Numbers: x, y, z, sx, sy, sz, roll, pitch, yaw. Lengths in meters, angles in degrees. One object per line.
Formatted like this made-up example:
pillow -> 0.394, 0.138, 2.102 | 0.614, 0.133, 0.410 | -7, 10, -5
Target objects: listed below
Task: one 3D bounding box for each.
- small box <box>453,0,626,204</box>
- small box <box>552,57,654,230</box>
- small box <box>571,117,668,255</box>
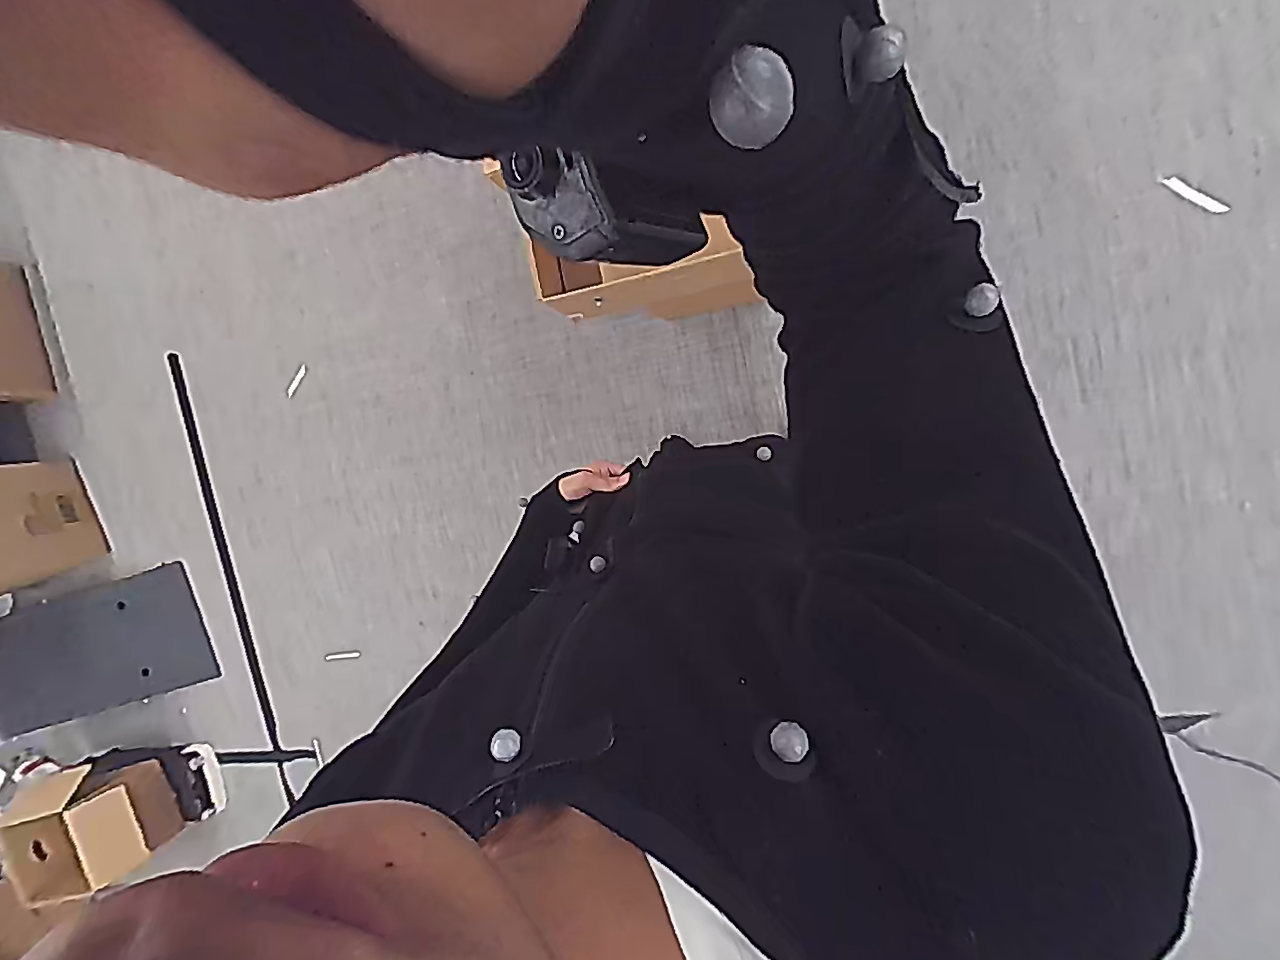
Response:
small box -> -0.132, -0.523, 0.777 | 0.168, 0.176, 0.179 | -13, 94, 15
small box -> -0.084, -0.562, 0.930 | 0.168, 0.176, 0.179 | -11, 96, 15
small box -> -0.049, -0.581, 1.090 | 0.168, 0.176, 0.179 | -10, 96, 15
